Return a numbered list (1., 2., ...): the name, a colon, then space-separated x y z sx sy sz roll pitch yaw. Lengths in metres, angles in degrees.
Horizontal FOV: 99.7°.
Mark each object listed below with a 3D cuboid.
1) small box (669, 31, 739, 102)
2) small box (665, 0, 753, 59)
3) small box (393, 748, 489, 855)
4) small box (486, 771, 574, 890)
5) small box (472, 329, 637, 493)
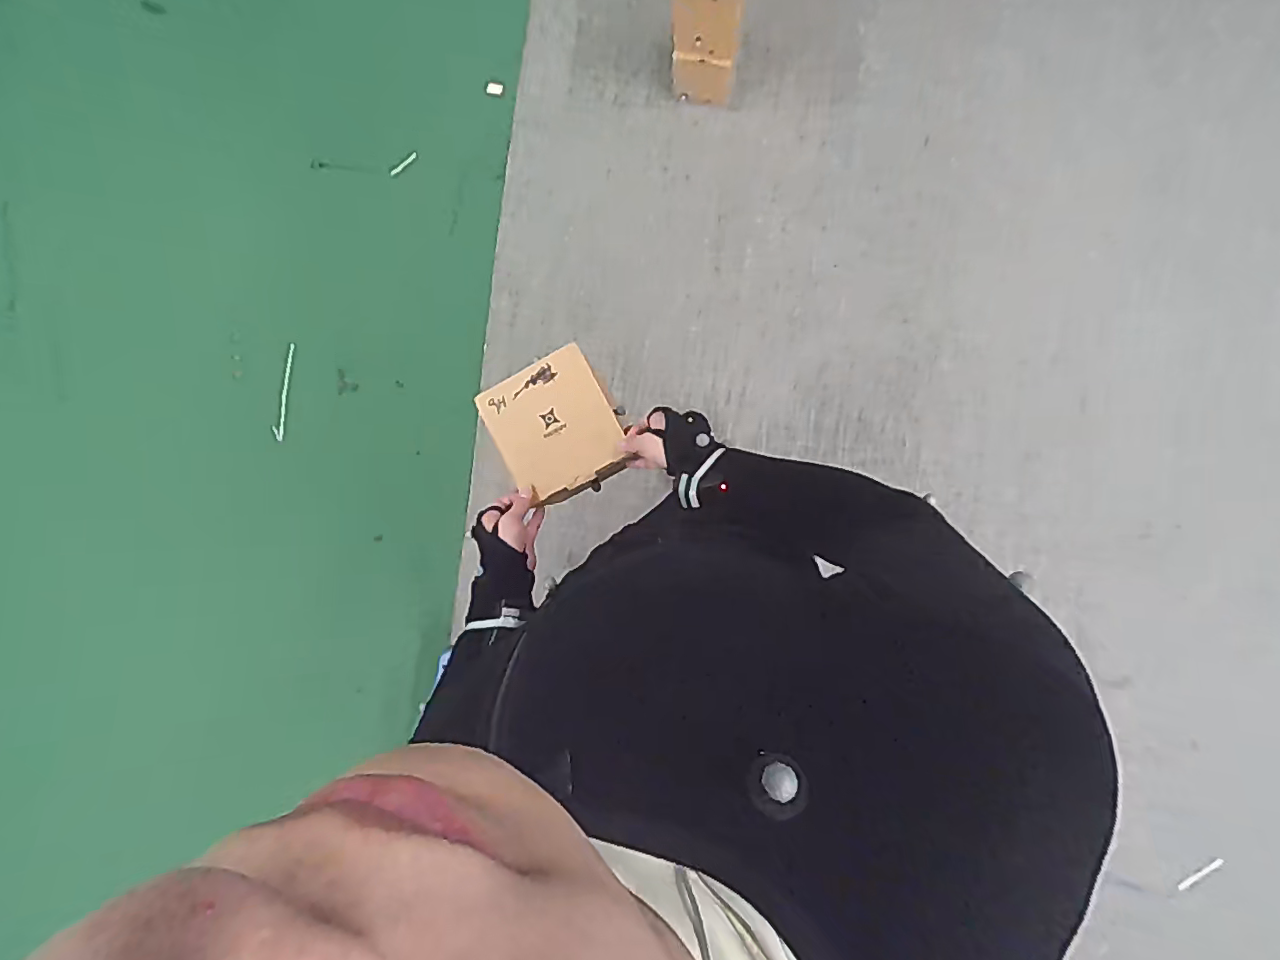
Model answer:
1. small box: 0.184 -1.216 1.528 0.168 0.176 0.179 13 91 4
2. small box: 0.172 -1.235 1.374 0.179 0.176 0.168 45 96 4
3. small box: -0.513 0.833 1.418 0.179 0.176 0.168 10 90 4
4. small box: -0.277 0.898 1.398 0.168 0.176 0.179 11 91 4
5. small box: -0.114 -0.094 0.805 0.168 0.176 0.179 -25 88 5
